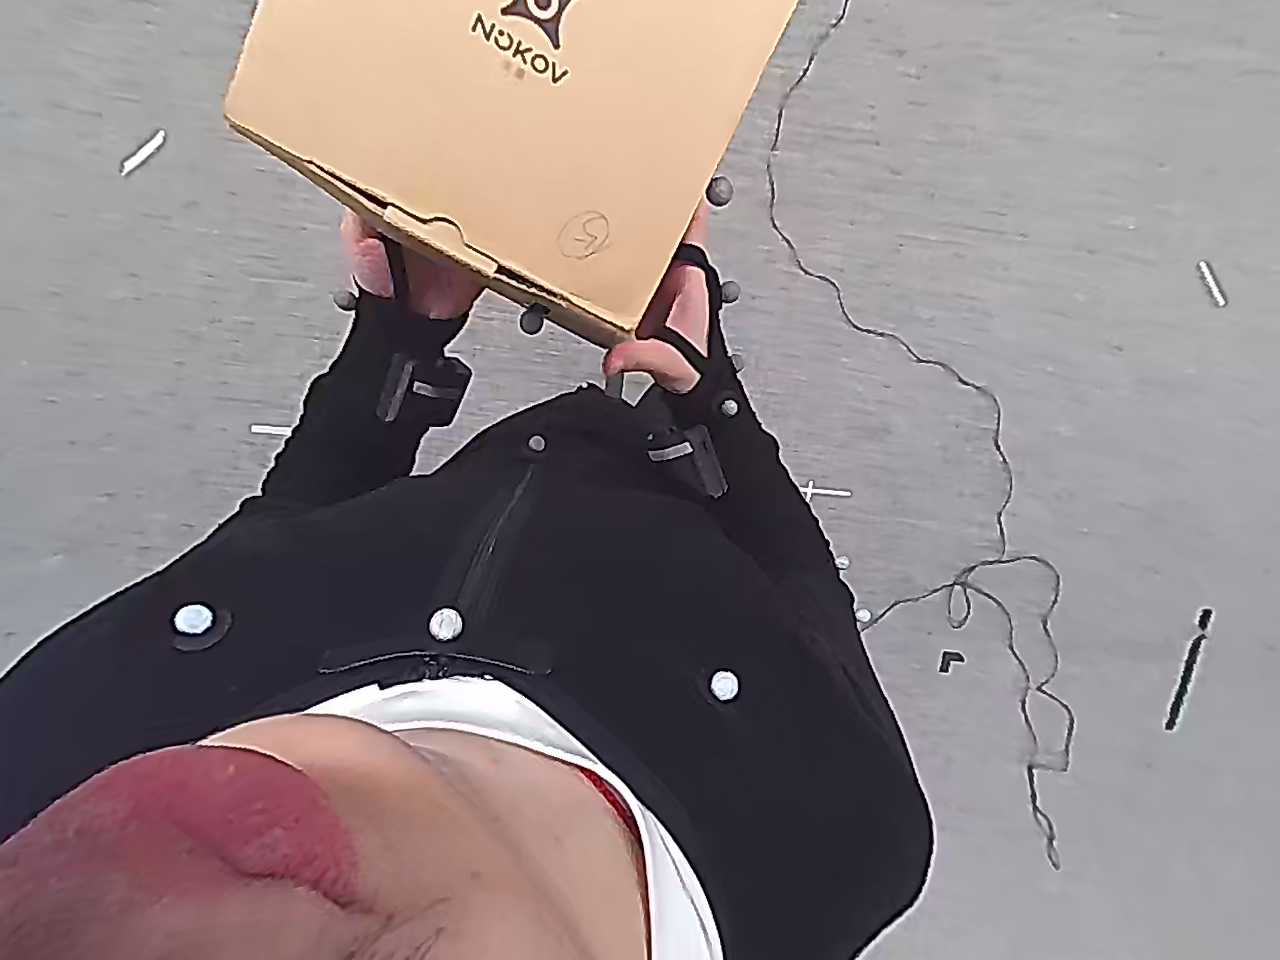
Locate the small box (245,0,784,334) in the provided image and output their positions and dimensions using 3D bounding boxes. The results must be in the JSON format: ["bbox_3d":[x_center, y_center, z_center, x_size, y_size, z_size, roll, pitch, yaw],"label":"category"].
[{"bbox_3d":[-0.050,-0.192,0.286,0.168,0.176,0.179,25,97,-12],"label":"small box"}]
